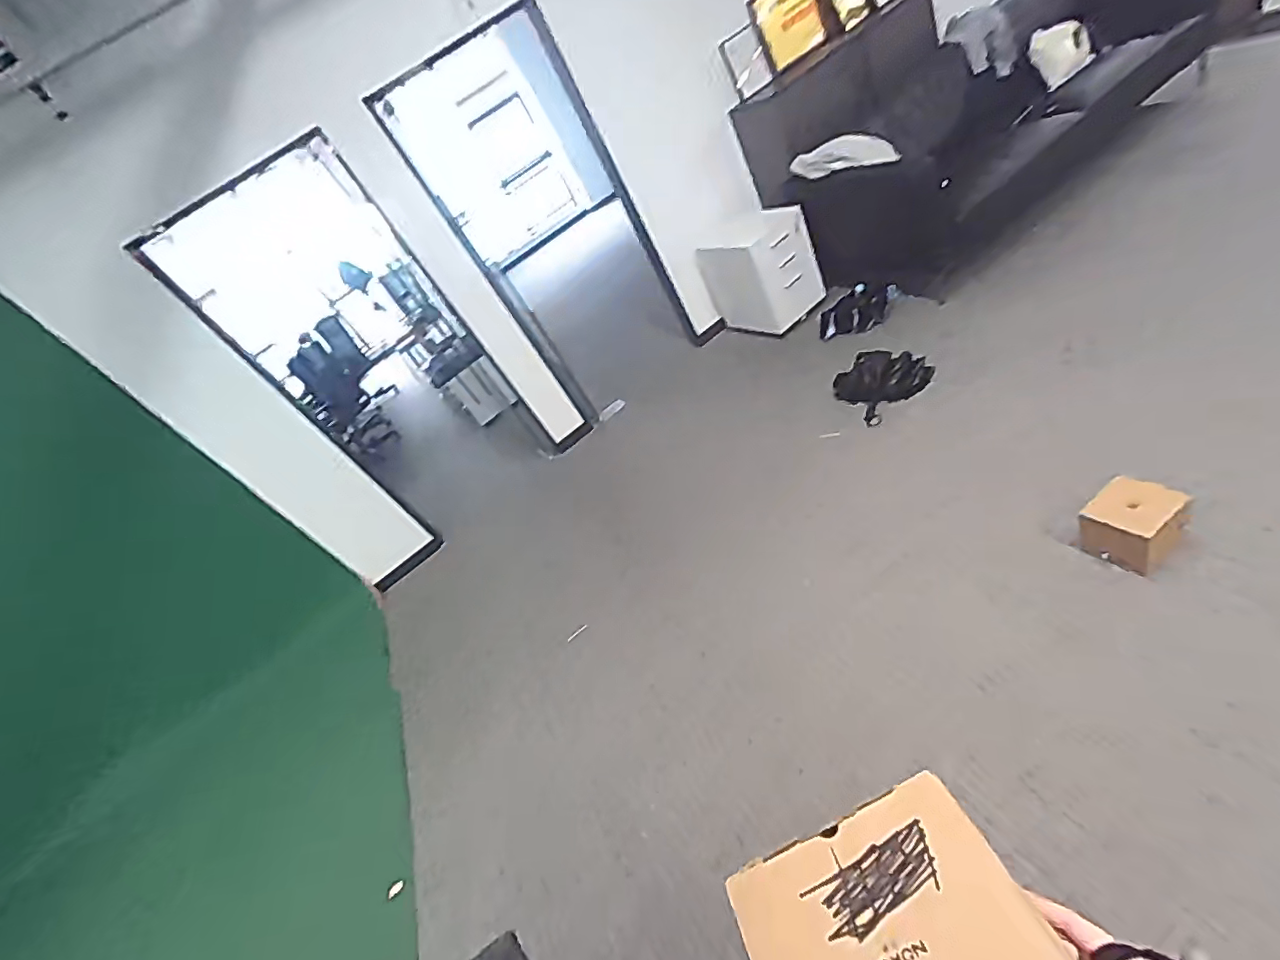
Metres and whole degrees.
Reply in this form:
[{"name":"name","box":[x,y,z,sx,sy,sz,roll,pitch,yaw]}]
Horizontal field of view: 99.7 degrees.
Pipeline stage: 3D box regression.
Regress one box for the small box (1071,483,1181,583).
[{"name":"small box","box":[1.329,0.145,1.487,0.179,0.176,0.168,-39,33,-8]}]
